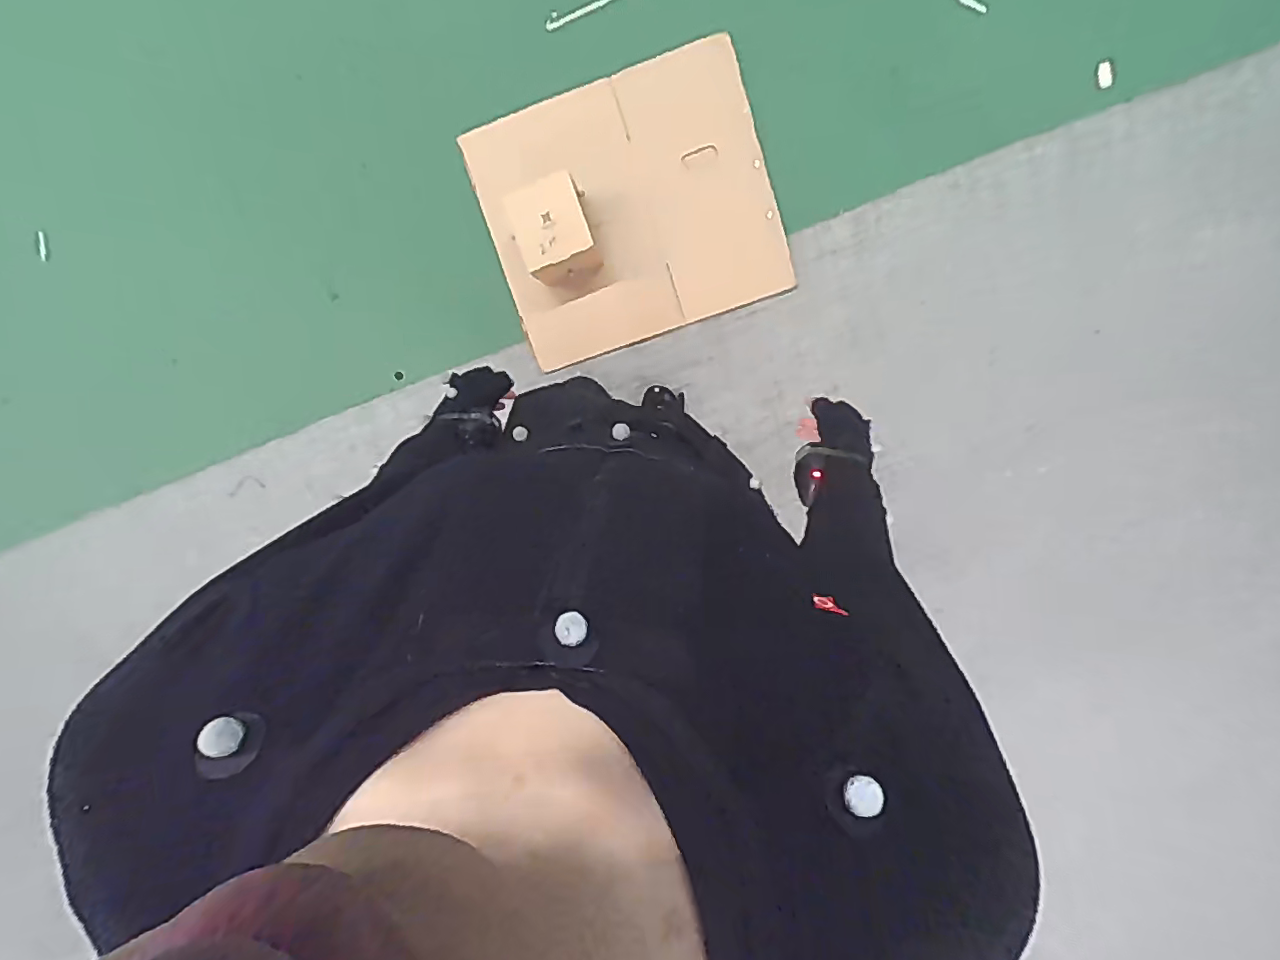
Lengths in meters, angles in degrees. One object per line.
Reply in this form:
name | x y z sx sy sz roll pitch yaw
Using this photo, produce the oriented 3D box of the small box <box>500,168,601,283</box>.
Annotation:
small box | -0.203 -0.589 1.275 0.168 0.176 0.179 -19 99 8
